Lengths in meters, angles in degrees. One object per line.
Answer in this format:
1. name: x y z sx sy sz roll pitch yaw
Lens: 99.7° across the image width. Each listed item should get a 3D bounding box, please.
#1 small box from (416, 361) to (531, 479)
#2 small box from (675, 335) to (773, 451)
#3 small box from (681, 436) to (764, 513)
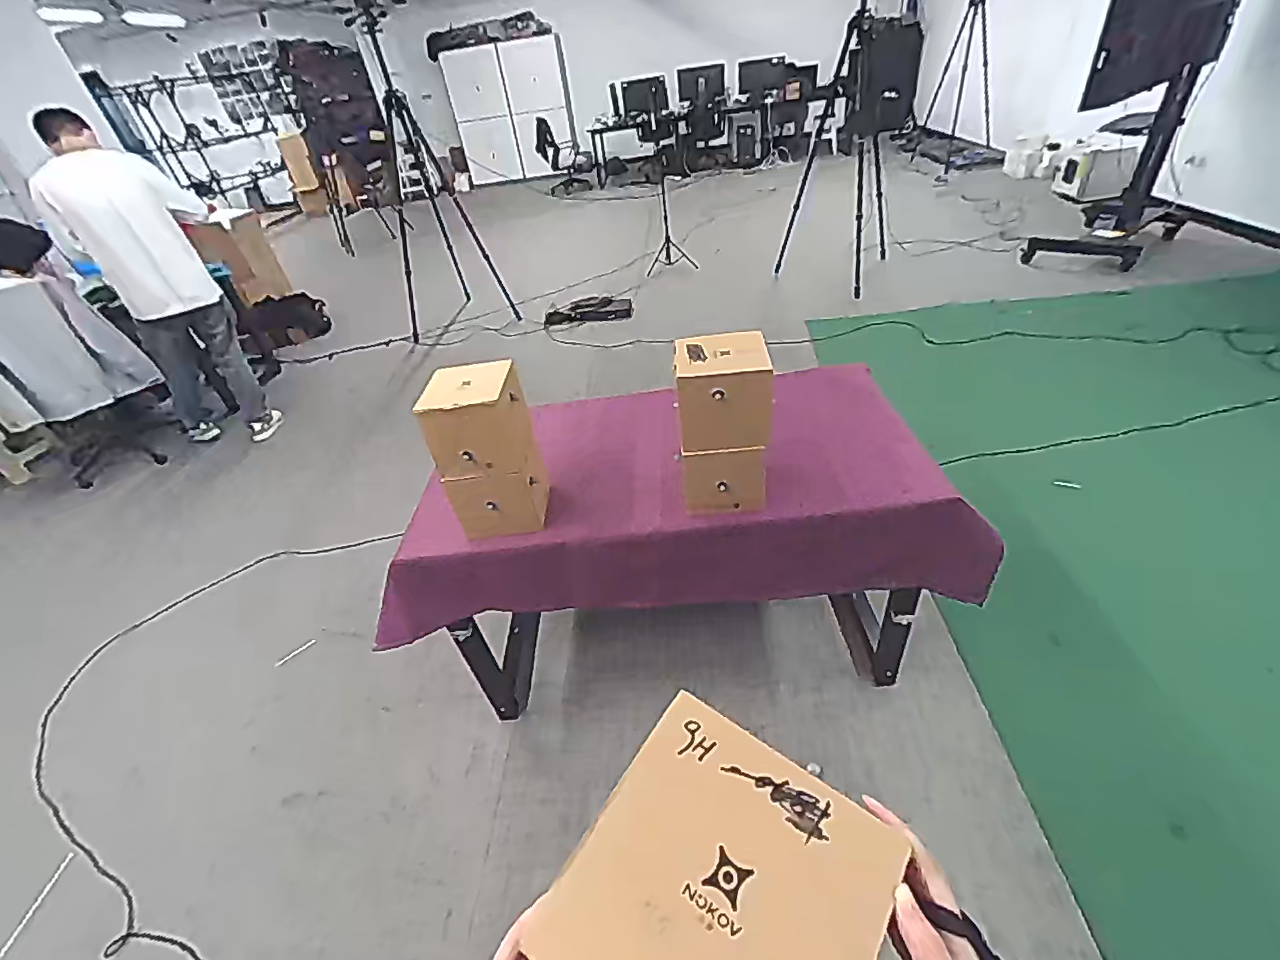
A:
1. small box: -0.329 -0.123 1.113 0.168 0.176 0.179 -6 39 4
2. small box: 0.165 -0.170 1.073 0.179 0.176 0.168 -4 39 6
3. small box: 0.177 -0.040 1.173 0.168 0.176 0.179 -4 38 6
